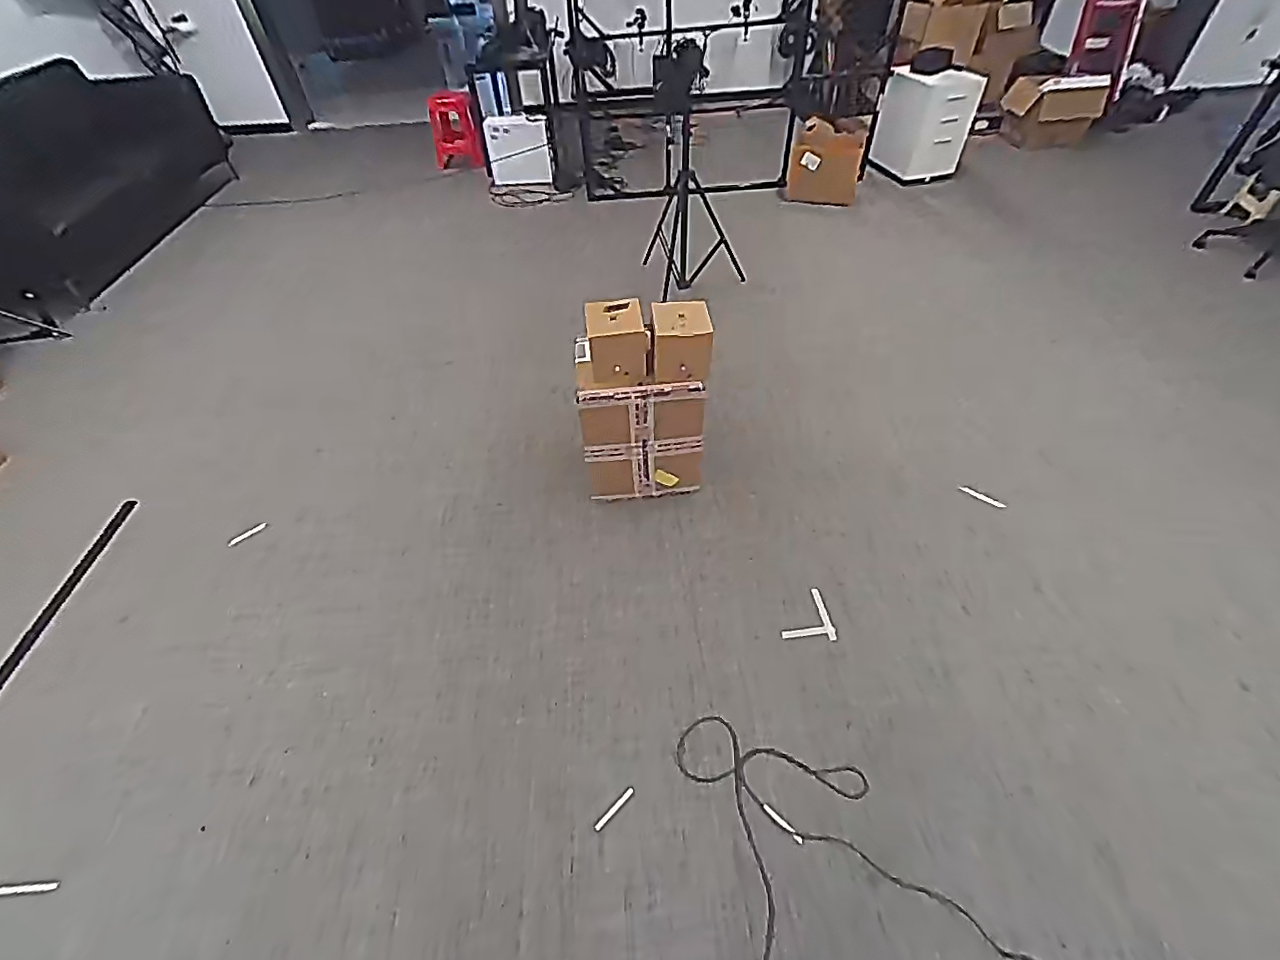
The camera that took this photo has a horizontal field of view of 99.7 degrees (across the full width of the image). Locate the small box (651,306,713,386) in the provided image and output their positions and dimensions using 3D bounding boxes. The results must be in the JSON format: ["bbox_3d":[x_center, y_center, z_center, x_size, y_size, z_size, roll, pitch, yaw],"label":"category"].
[{"bbox_3d":[0.121,-0.406,1.638,0.168,0.176,0.179,-4,49,-2],"label":"small box"}]

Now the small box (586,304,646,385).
[{"bbox_3d":[-0.073,-0.412,1.651,0.168,0.176,0.179,-7,51,-2],"label":"small box"}]
